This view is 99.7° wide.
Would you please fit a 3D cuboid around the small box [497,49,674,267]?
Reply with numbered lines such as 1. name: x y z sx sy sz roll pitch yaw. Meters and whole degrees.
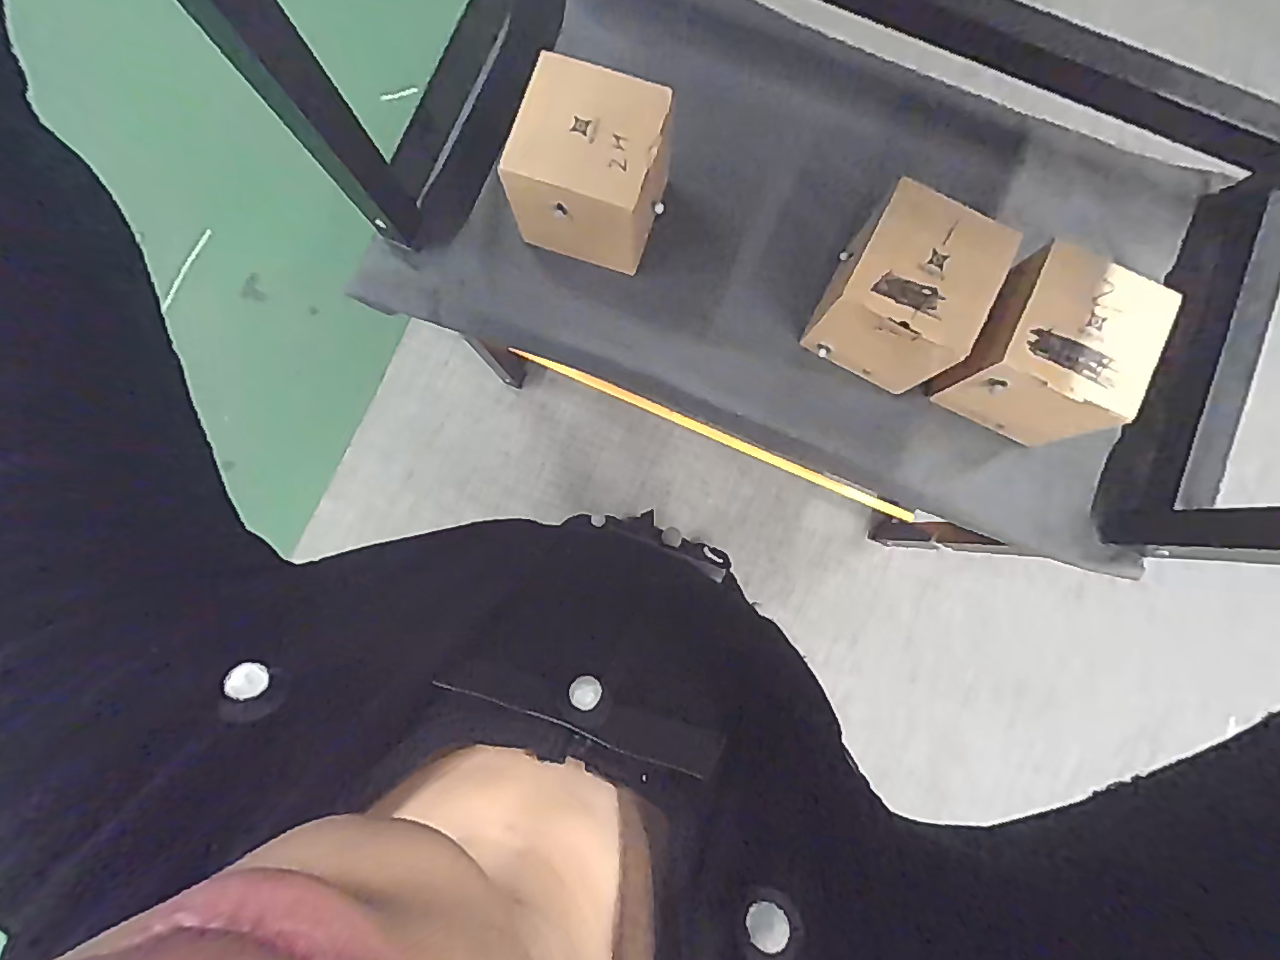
1. small box: -0.066 -0.419 0.734 0.179 0.176 0.168 19 86 1
